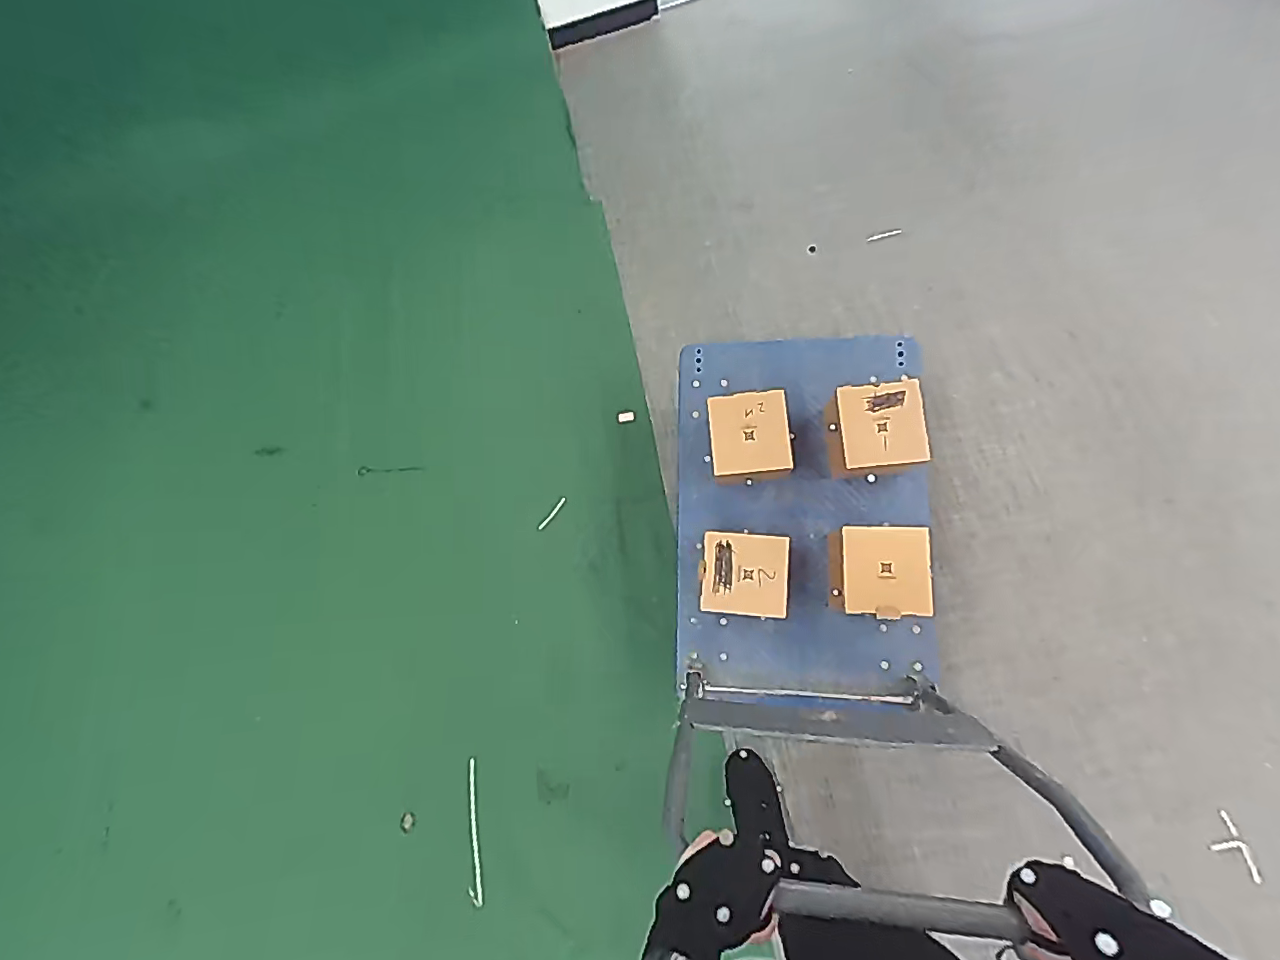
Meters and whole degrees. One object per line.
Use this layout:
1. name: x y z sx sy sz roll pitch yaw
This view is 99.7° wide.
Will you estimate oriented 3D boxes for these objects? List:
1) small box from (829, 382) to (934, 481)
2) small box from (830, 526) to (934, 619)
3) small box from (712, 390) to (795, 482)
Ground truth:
1. small box: 0.519 -0.100 1.185 0.168 0.176 0.179 -4 82 9
2. small box: 0.502 0.193 1.144 0.168 0.176 0.179 1 82 9
3. small box: 0.252 -0.090 1.224 0.168 0.176 0.179 -4 81 7
